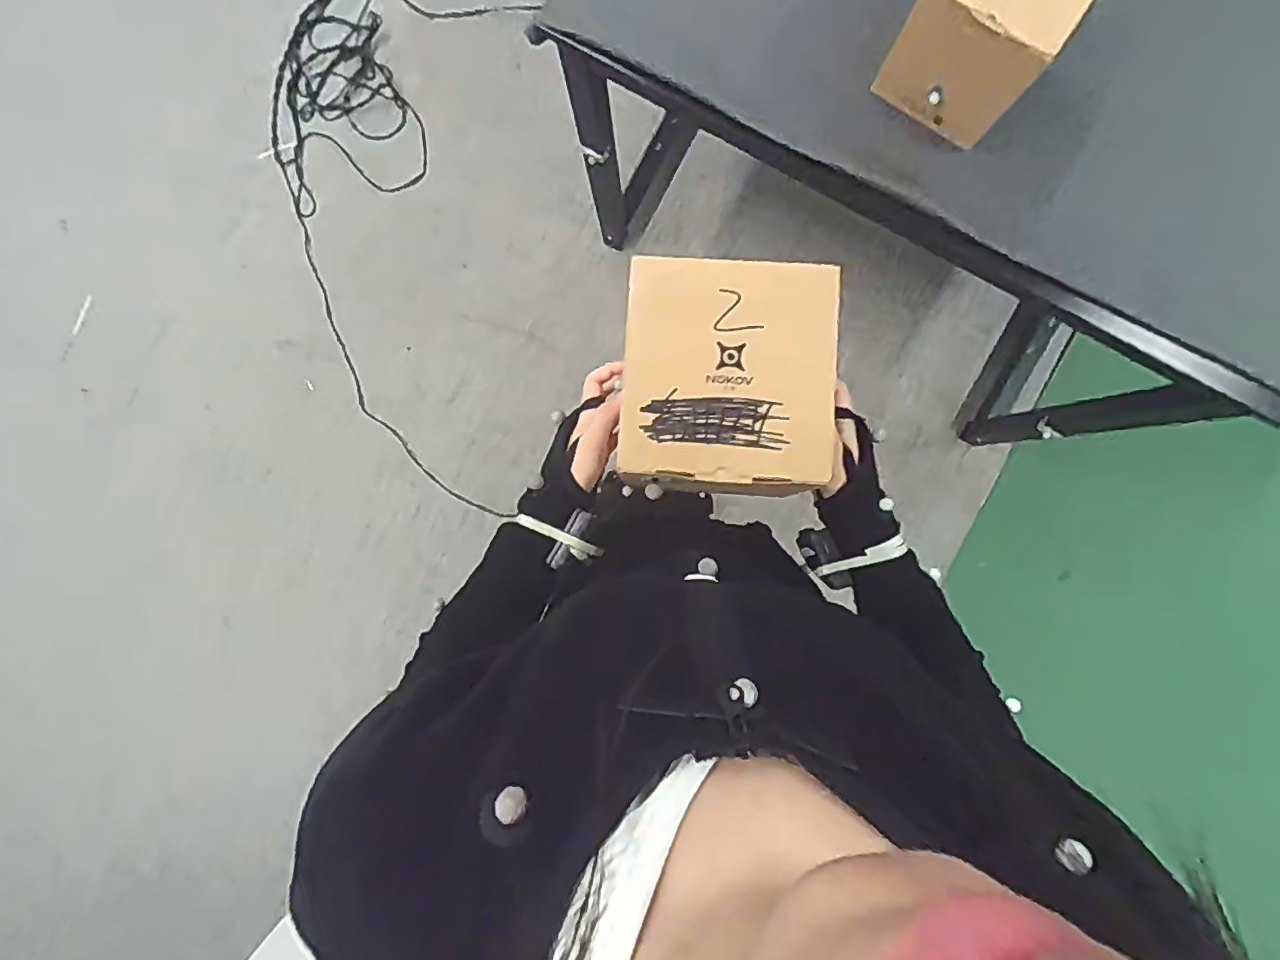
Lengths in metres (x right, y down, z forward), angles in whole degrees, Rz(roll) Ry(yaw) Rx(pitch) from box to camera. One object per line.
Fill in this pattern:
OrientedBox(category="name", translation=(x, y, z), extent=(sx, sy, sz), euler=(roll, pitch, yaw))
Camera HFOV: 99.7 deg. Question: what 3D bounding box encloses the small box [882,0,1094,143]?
OrientedBox(category="small box", translation=(0.440, -0.581, 0.677), extent=(0.168, 0.176, 0.179), euler=(33, 91, 2))
